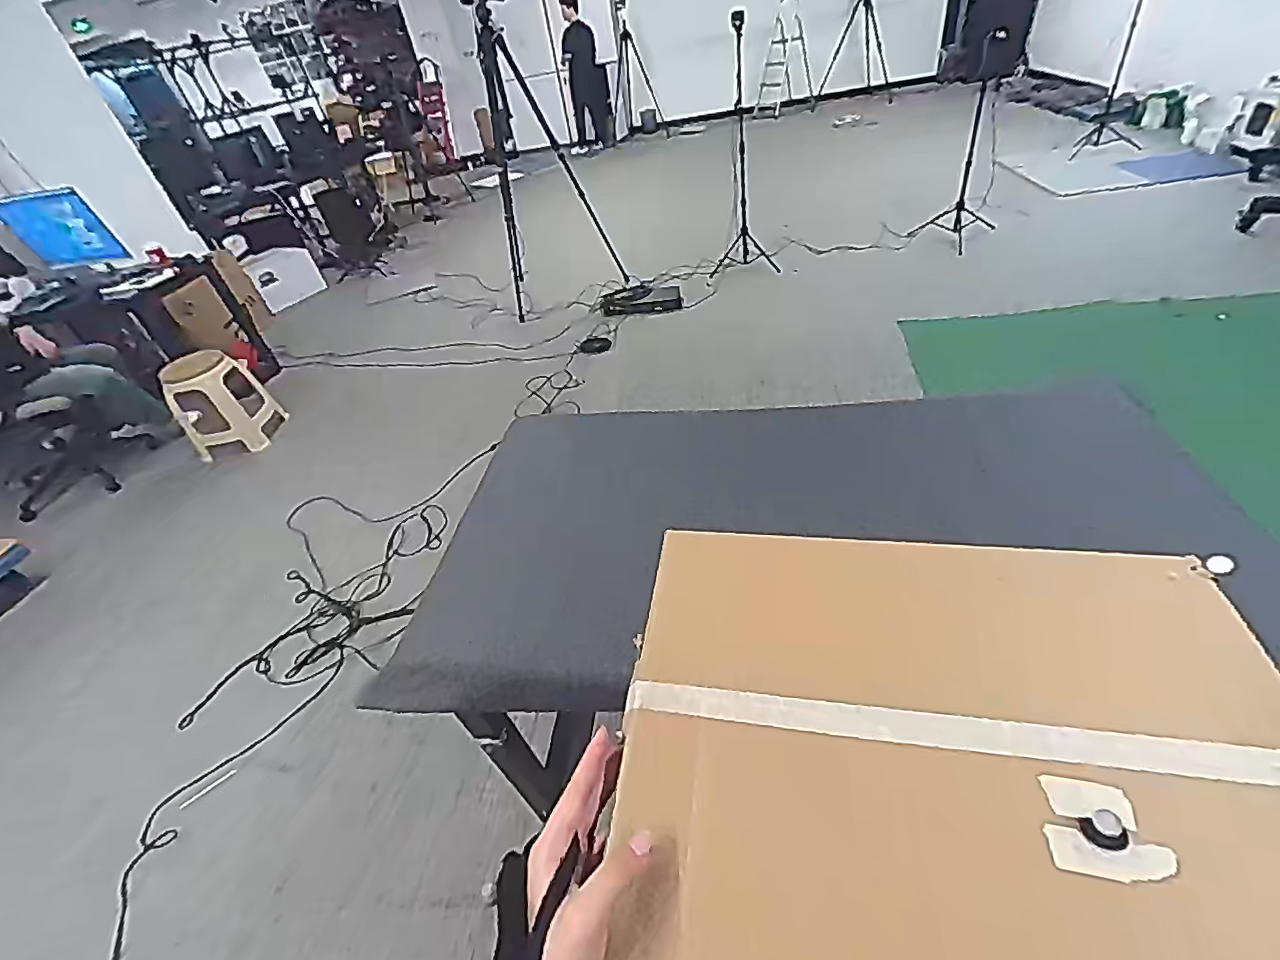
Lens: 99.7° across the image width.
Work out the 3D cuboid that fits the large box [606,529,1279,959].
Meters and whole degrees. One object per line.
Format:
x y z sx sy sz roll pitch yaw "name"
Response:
0.212 0.263 0.461 0.408 0.320 0.320 2 45 12 "large box"
